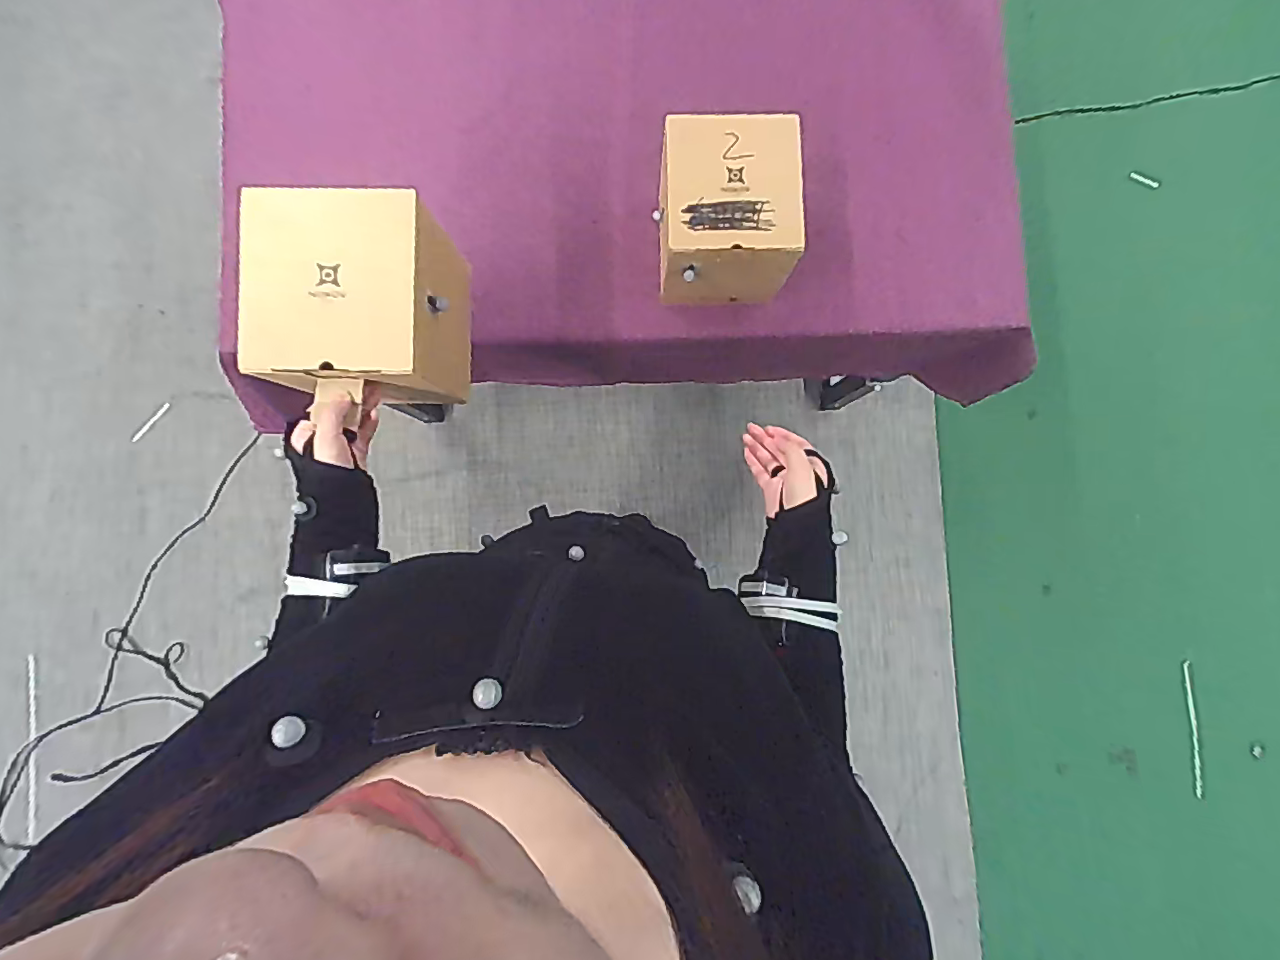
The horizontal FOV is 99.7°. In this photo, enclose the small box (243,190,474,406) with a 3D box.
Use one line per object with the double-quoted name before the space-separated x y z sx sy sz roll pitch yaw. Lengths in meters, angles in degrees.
"small box" -0.286 -0.182 0.585 0.168 0.176 0.179 1 89 -1
